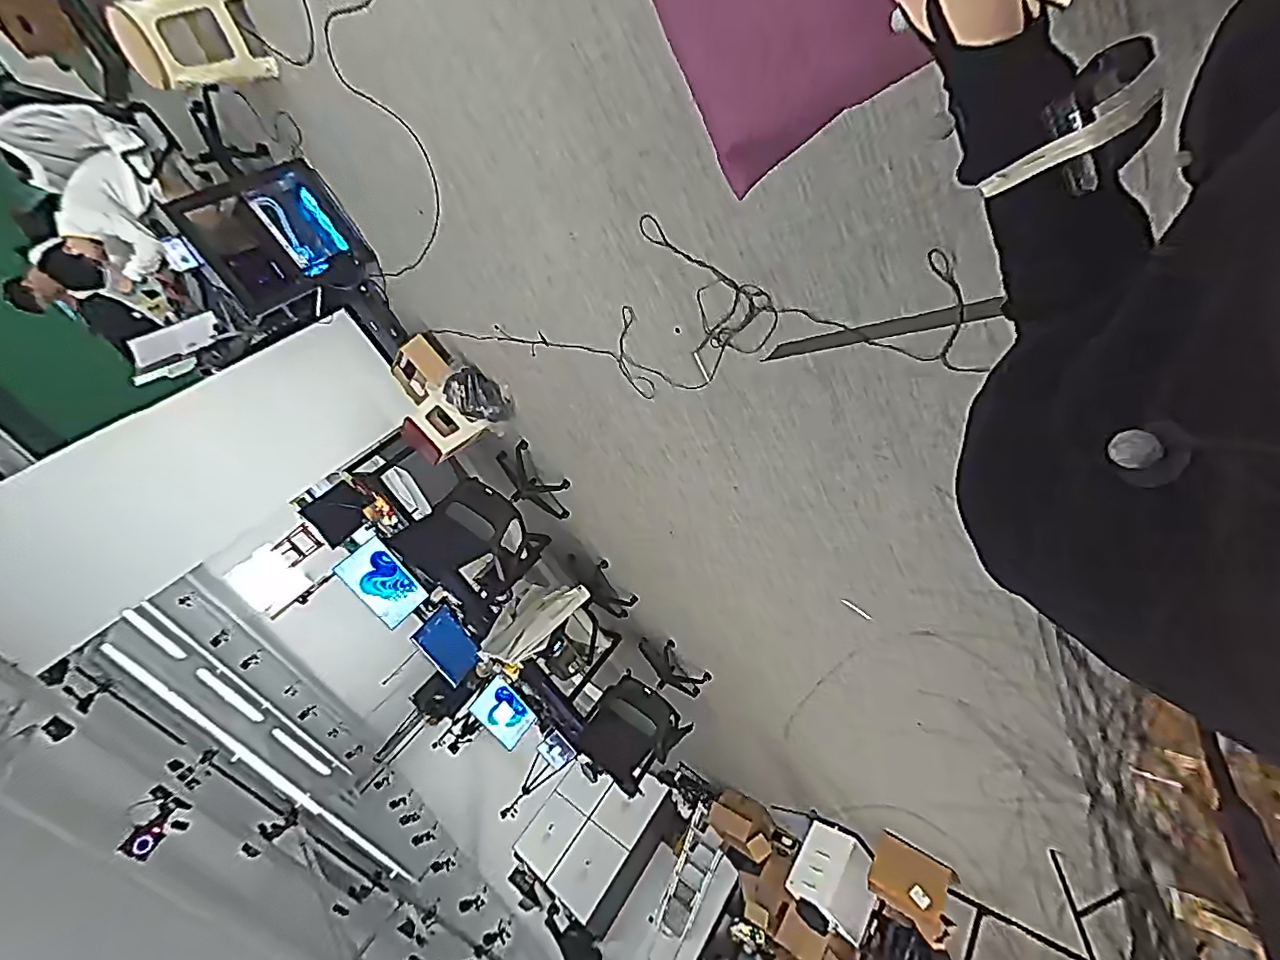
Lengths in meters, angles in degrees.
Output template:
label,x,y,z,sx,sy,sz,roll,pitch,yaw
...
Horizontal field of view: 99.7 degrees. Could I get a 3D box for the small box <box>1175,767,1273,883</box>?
label,x,y,z,sx,sy,sz,roll,pitch,yaw
small box,1.552,0.904,1.436,0.168,0.176,0.179,-3,127,52
